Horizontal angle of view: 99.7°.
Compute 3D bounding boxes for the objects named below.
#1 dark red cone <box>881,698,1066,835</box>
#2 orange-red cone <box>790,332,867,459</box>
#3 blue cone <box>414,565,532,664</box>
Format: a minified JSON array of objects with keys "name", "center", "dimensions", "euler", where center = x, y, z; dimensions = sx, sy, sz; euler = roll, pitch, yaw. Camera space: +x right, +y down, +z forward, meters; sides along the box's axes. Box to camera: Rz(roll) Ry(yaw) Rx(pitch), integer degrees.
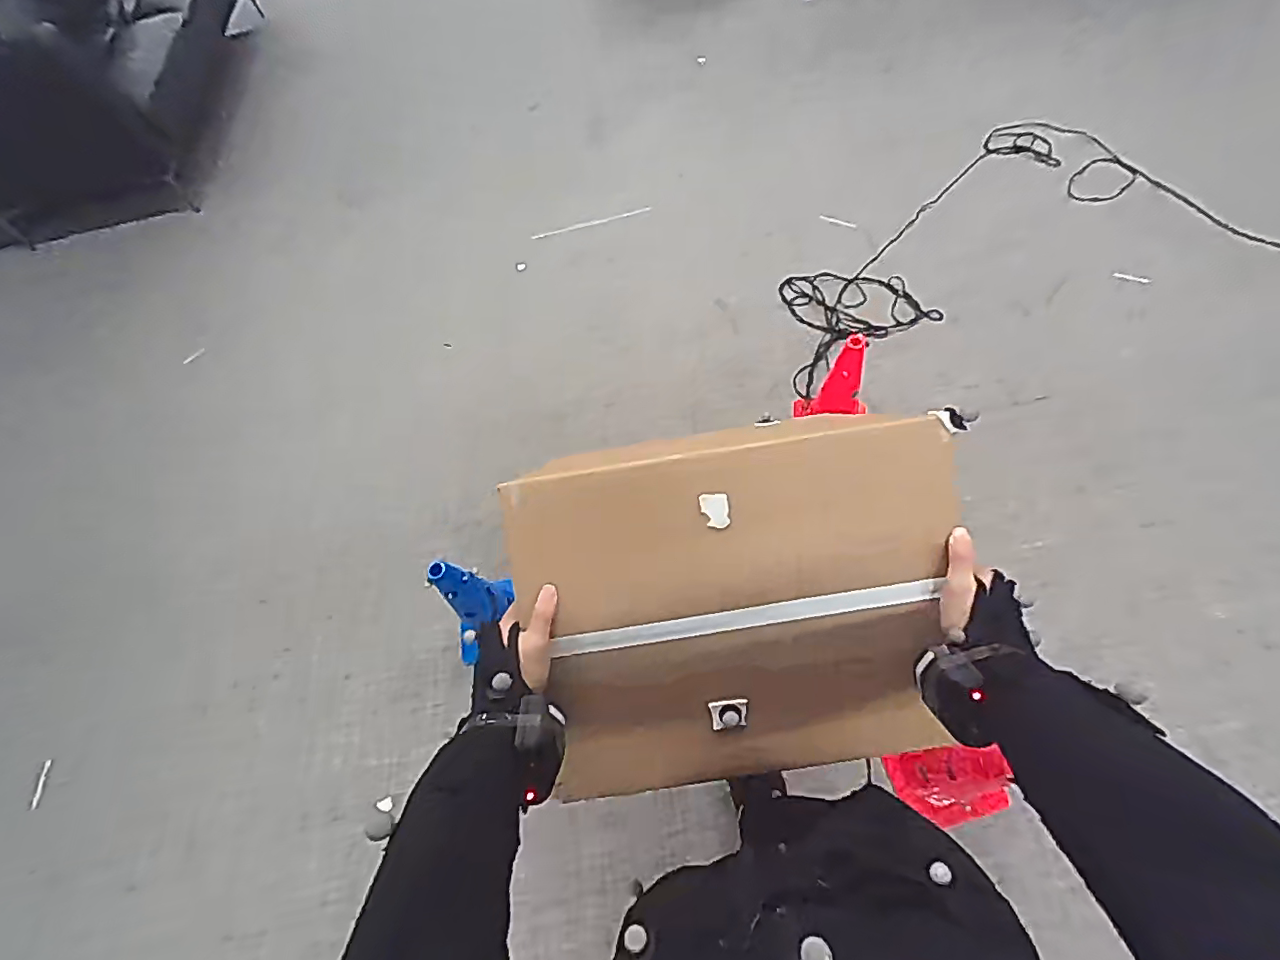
[{"name":"dark red cone","center":[0.575,0.475,0.901],"dimensions":[0.202,0.394,0.201],"euler":[-19,62,-1]},{"name":"orange-red cone","center":[0.498,-0.230,1.343],"dimensions":[0.199,0.360,0.198],"euler":[6,63,11]},{"name":"blue cone","center":[-0.391,0.273,1.225],"dimensions":[0.192,0.380,0.193],"euler":[-12,59,3]}]
